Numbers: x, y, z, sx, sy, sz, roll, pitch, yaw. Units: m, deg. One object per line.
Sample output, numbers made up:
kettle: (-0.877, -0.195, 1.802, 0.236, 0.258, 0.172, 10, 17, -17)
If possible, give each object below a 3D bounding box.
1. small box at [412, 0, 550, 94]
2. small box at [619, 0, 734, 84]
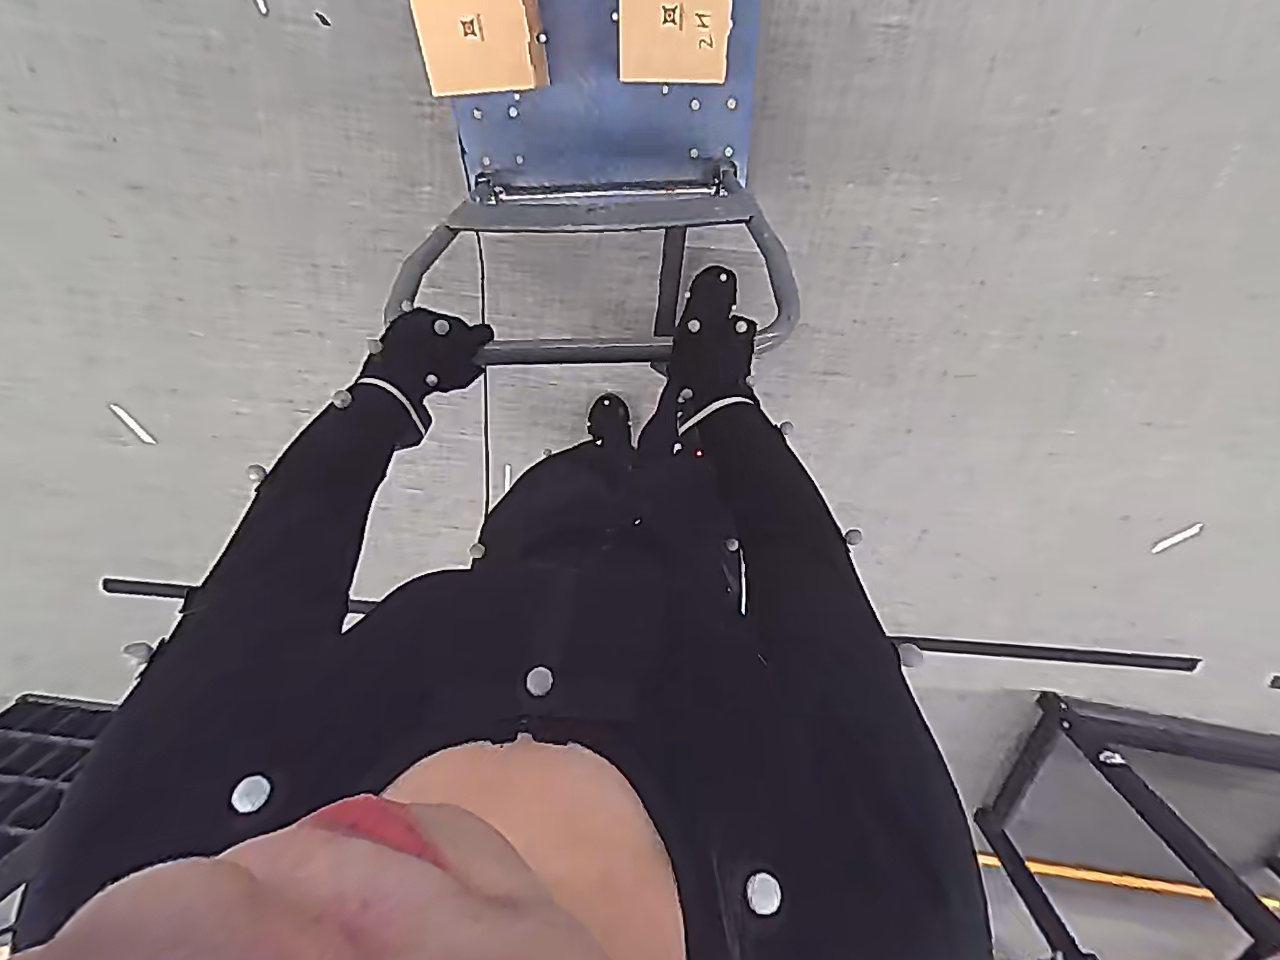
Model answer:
small box: (-0.259, -0.755, 0.907, 0.179, 0.176, 0.168, -4, 126, 2)
small box: (0.058, -0.761, 0.895, 0.179, 0.176, 0.168, 2, 127, 0)
